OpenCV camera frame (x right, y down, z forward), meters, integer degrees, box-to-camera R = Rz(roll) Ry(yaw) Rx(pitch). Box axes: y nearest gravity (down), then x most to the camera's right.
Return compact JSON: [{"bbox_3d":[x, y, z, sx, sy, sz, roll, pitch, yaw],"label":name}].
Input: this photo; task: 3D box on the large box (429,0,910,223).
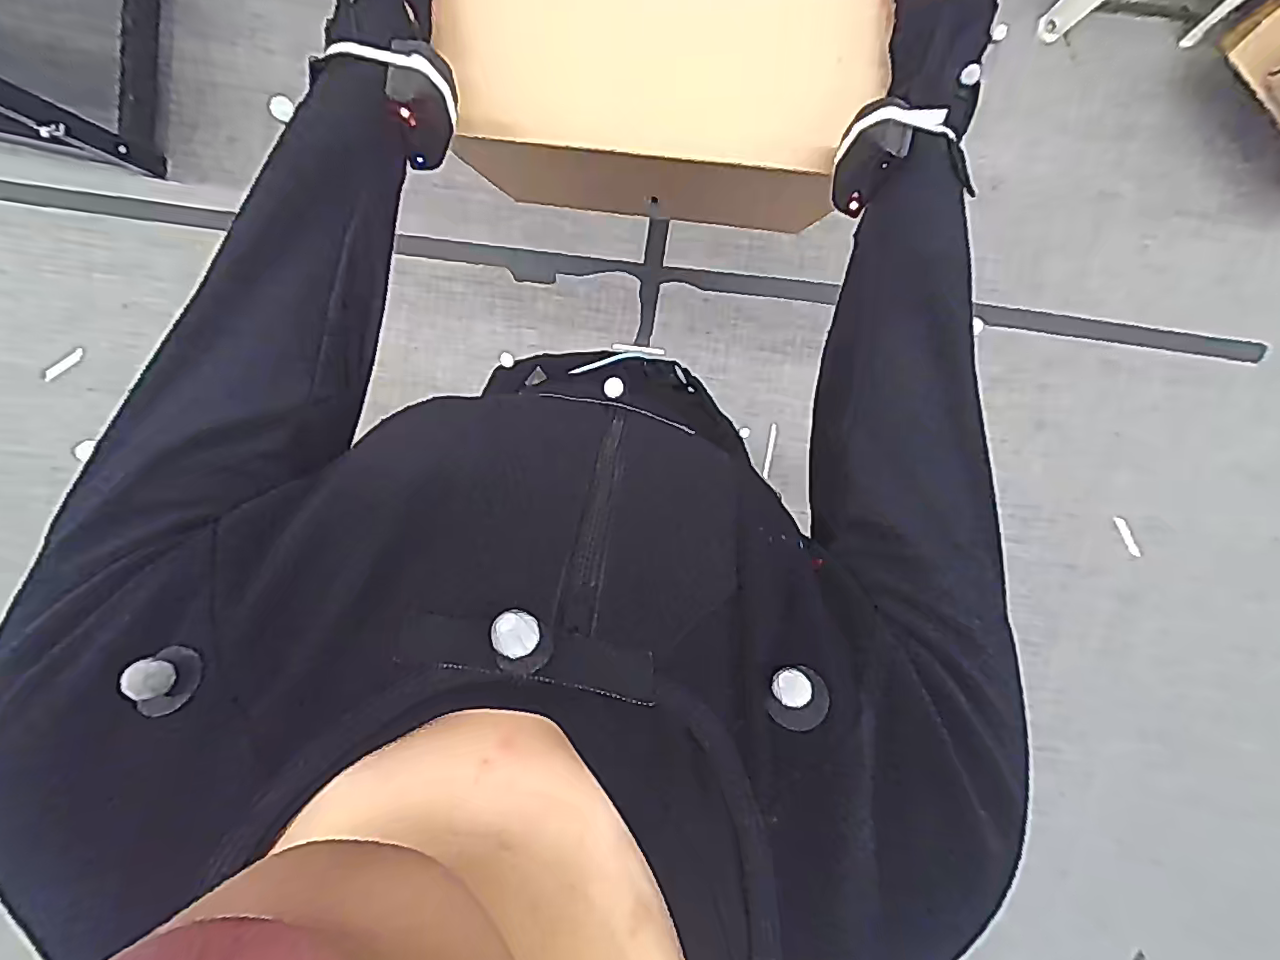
[{"bbox_3d":[0.034,-0.477,0.576,0.408,0.320,0.320,7,106,1],"label":"large box"}]
